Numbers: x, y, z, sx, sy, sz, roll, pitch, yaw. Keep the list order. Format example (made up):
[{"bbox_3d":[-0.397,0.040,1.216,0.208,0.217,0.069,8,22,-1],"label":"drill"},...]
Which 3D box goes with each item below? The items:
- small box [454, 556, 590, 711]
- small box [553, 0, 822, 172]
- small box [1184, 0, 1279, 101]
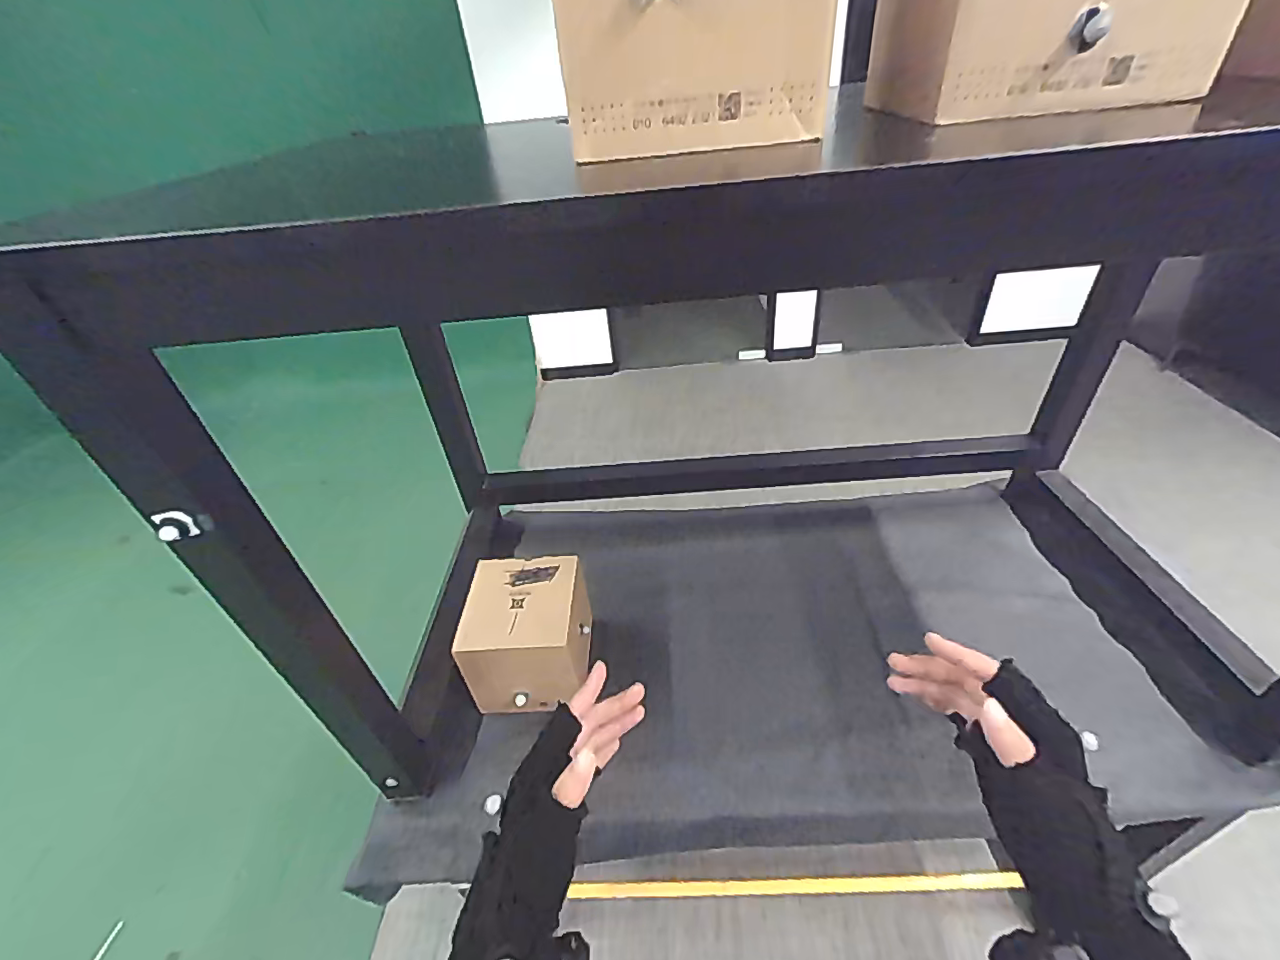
[{"bbox_3d":[-0.176,0.245,0.869,0.168,0.176,0.179,-4,38,3],"label":"small box"},{"bbox_3d":[0.031,-0.330,0.390,0.168,0.176,0.179,-3,37,3],"label":"small box"},{"bbox_3d":[0.516,-0.345,0.335,0.168,0.176,0.179,3,38,12],"label":"small box"}]
